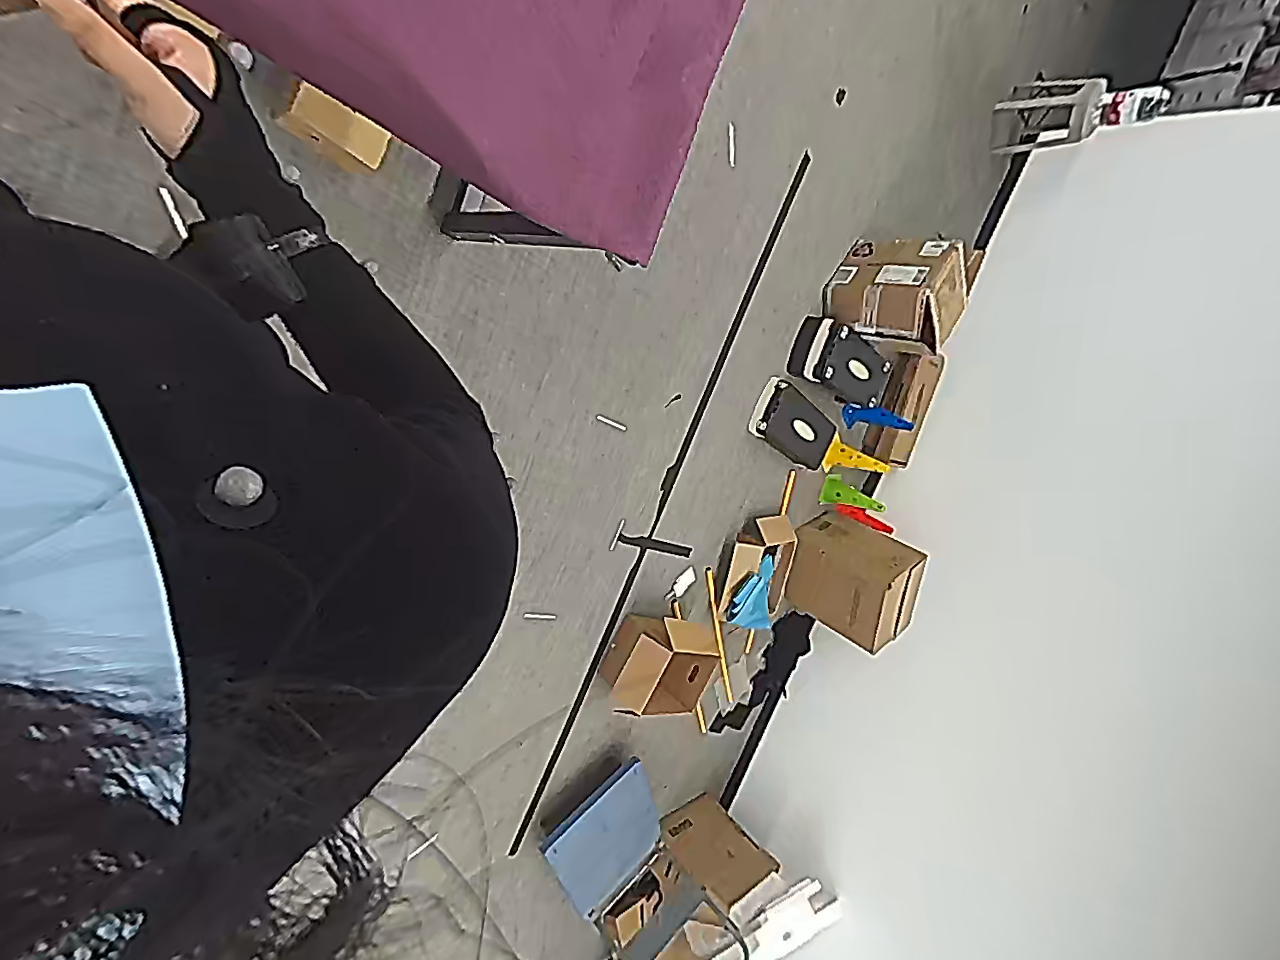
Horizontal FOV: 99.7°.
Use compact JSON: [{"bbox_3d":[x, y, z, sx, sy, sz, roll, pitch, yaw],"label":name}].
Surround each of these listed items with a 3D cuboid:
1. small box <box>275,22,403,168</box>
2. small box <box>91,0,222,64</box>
[{"bbox_3d":[-0.628,-0.778,1.118,0.168,0.176,0.179,23,92,-47],"label":"small box"},{"bbox_3d":[-0.809,-0.847,0.903,0.168,0.176,0.179,19,95,-48],"label":"small box"}]
